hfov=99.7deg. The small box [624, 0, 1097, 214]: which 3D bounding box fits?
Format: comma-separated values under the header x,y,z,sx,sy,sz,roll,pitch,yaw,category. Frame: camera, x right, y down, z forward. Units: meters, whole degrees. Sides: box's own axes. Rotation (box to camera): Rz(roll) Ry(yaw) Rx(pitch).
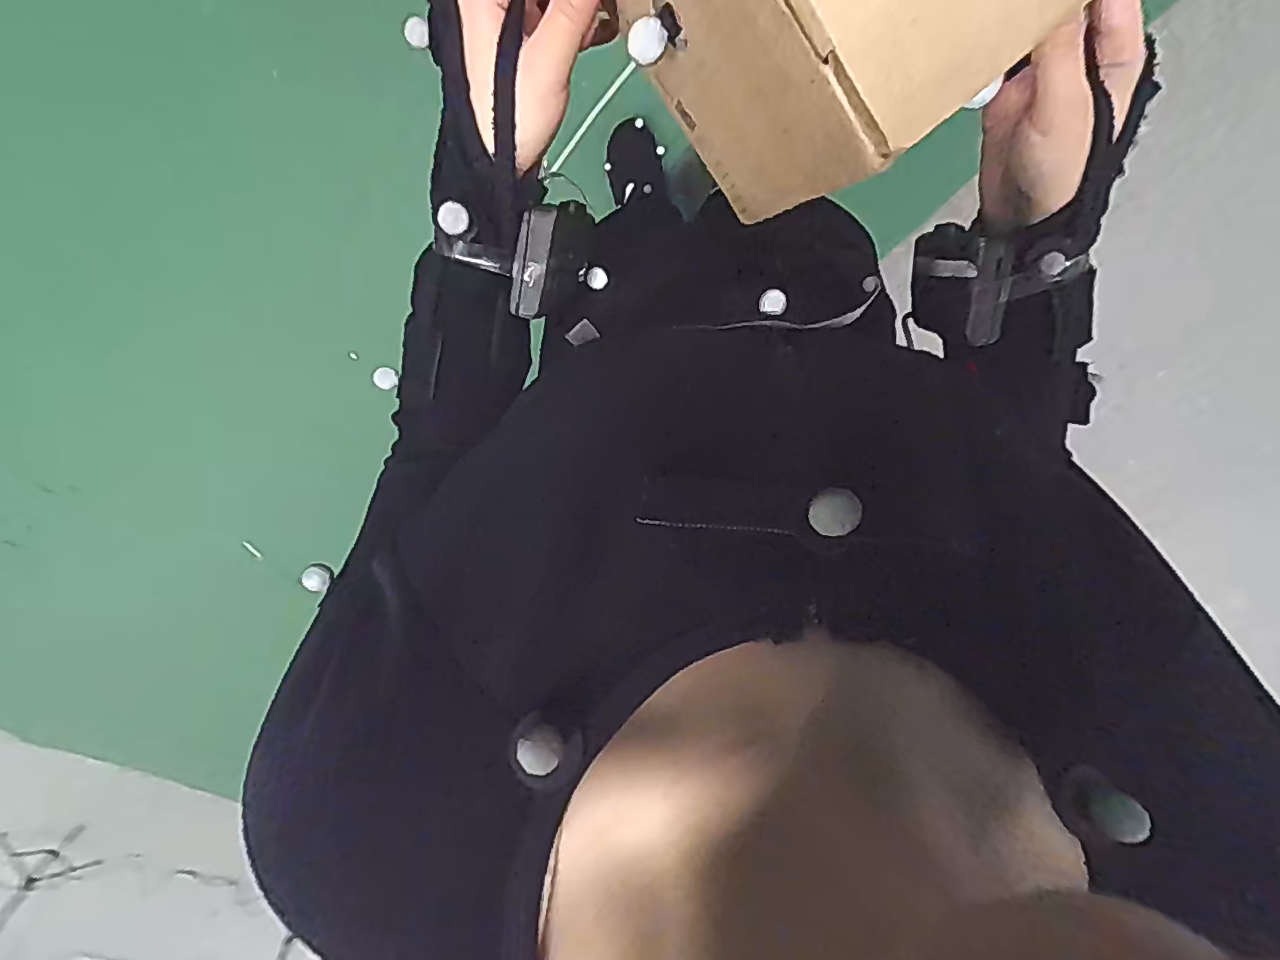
x,y,z,sx,sy,sz,roll,pitch,yaw,category
0.083,-0.218,0.182,0.179,0.176,0.168,-36,107,12,small box
